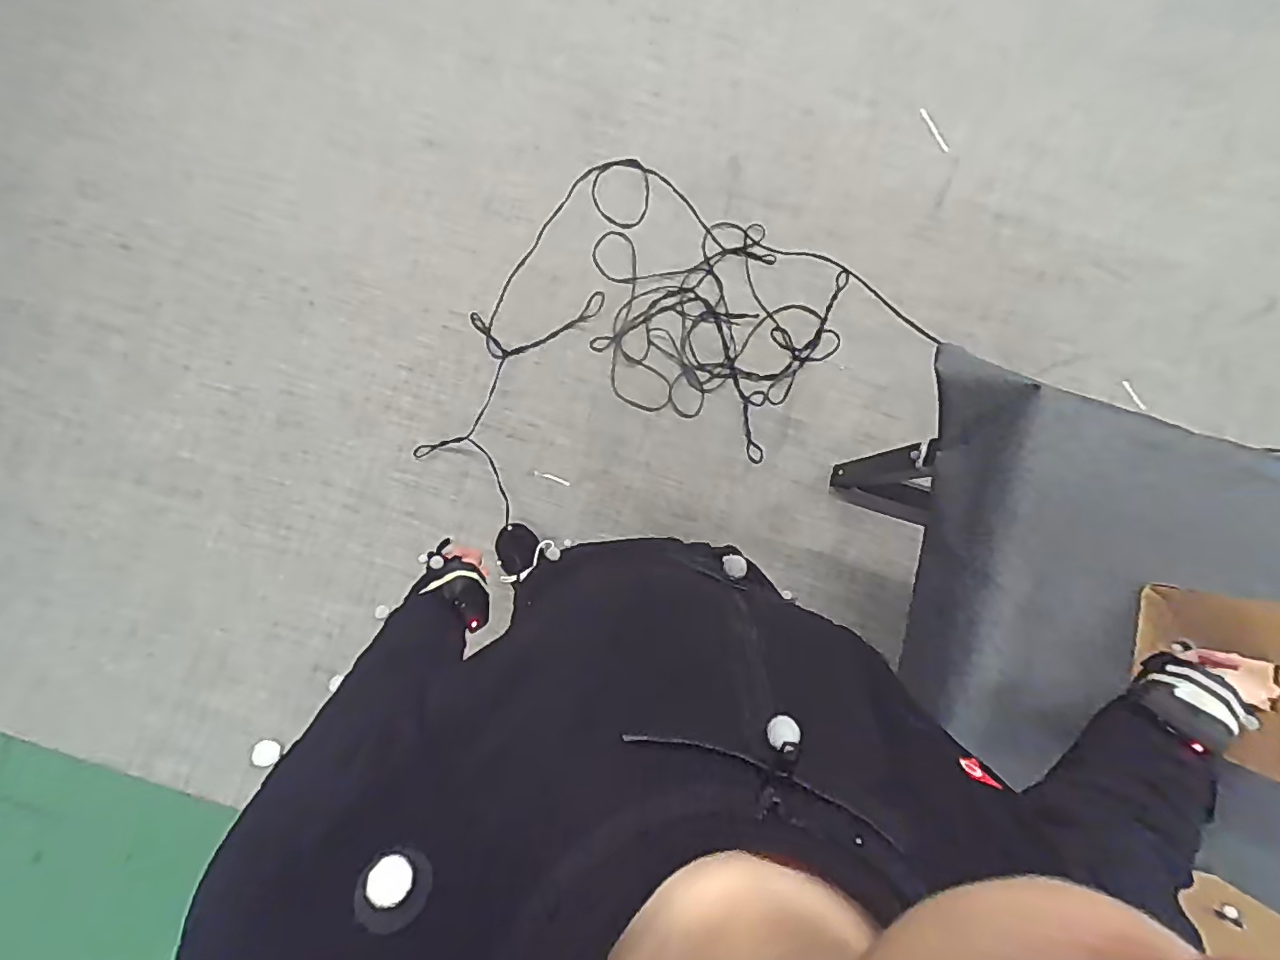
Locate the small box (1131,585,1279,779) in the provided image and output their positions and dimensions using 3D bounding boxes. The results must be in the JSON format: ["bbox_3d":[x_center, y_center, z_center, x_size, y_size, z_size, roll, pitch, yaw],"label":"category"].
[{"bbox_3d":[0.682,0.212,0.565,0.179,0.176,0.168,10,87,0],"label":"small box"}]
